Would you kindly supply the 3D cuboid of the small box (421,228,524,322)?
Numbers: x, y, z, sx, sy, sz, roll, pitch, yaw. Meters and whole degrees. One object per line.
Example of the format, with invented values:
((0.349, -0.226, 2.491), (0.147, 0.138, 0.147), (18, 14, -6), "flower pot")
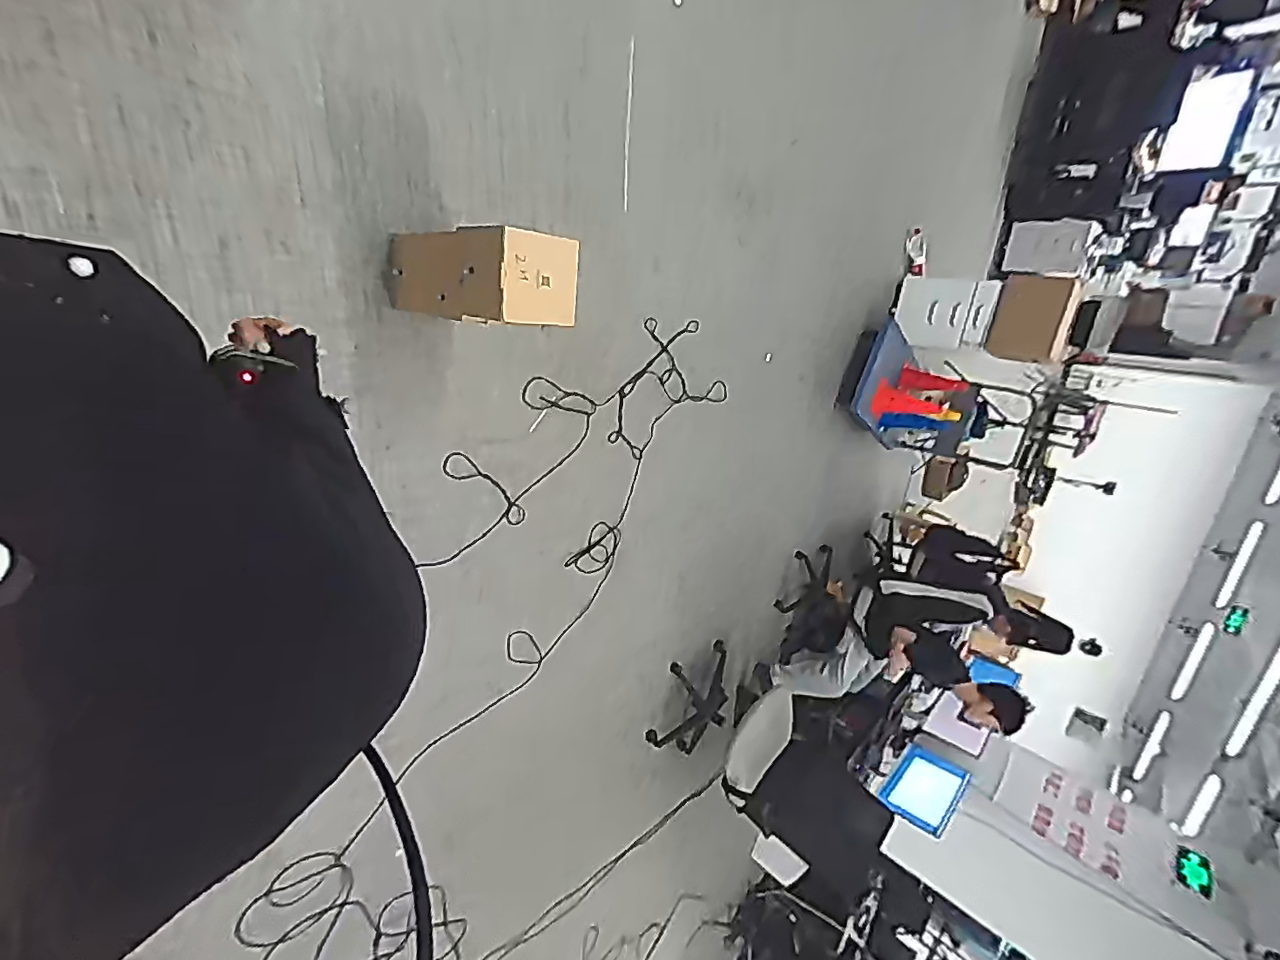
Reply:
((-0.363, -0.446, 1.187), (0.168, 0.176, 0.179), (-15, 116, -45), "small box")

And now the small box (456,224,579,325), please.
((-0.245, -0.407, 1.079), (0.179, 0.176, 0.168), (-13, 115, -45), "small box")

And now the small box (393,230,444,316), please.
((-0.476, -0.490, 1.296), (0.168, 0.176, 0.179), (-11, 115, -45), "small box")
